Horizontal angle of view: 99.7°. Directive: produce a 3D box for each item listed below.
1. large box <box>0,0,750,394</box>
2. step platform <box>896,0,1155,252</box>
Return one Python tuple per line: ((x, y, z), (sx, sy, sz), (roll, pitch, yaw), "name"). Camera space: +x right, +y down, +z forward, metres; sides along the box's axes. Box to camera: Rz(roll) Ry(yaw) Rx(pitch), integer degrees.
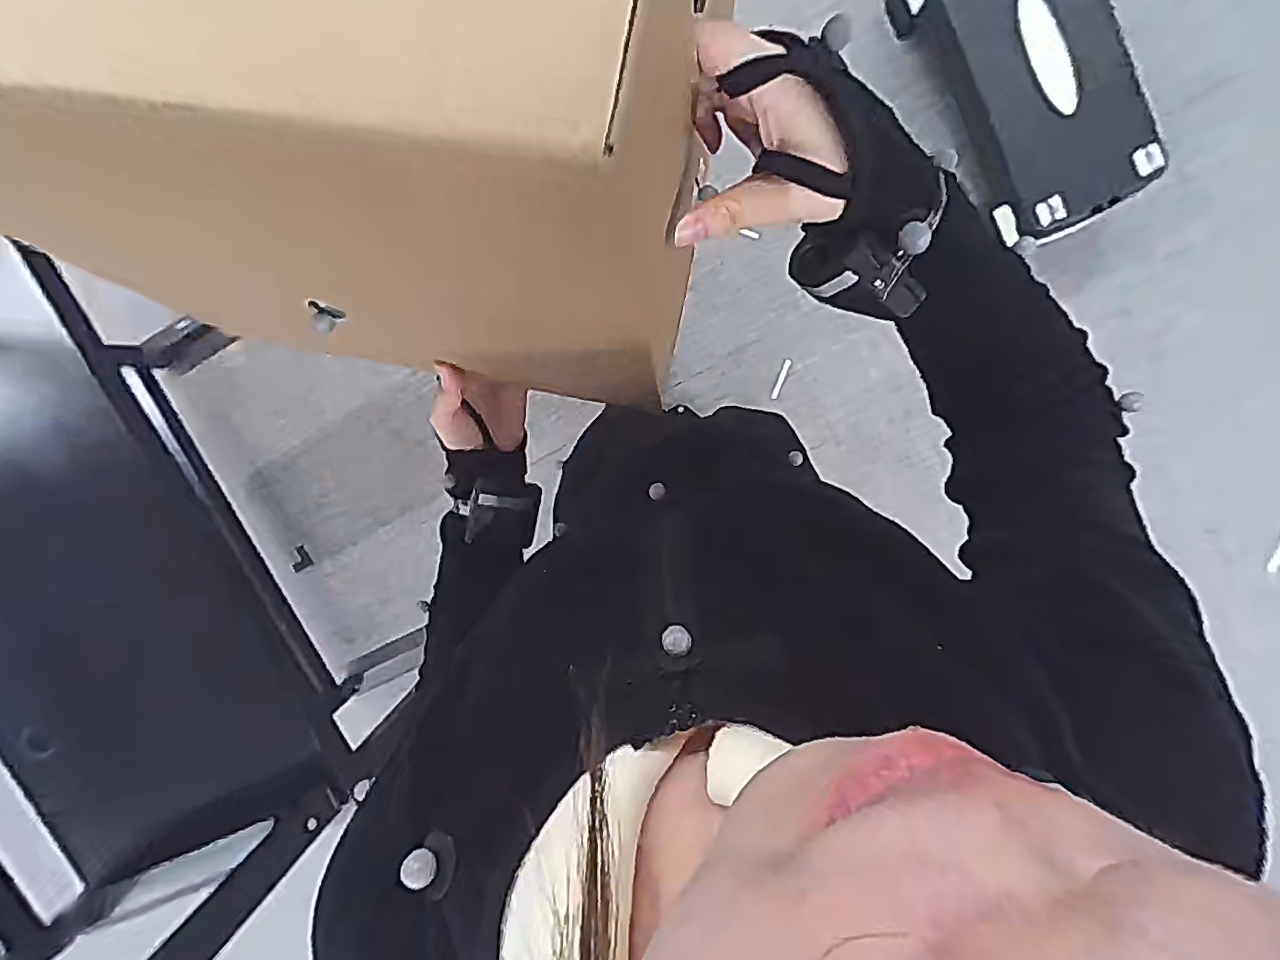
((-0.148, -0.260, 0.327), (0.408, 0.320, 0.320), (11, 85, 7), "large box")
((0.807, -0.875, 1.154), (0.286, 0.204, 0.684), (-21, 96, 10), "step platform")
